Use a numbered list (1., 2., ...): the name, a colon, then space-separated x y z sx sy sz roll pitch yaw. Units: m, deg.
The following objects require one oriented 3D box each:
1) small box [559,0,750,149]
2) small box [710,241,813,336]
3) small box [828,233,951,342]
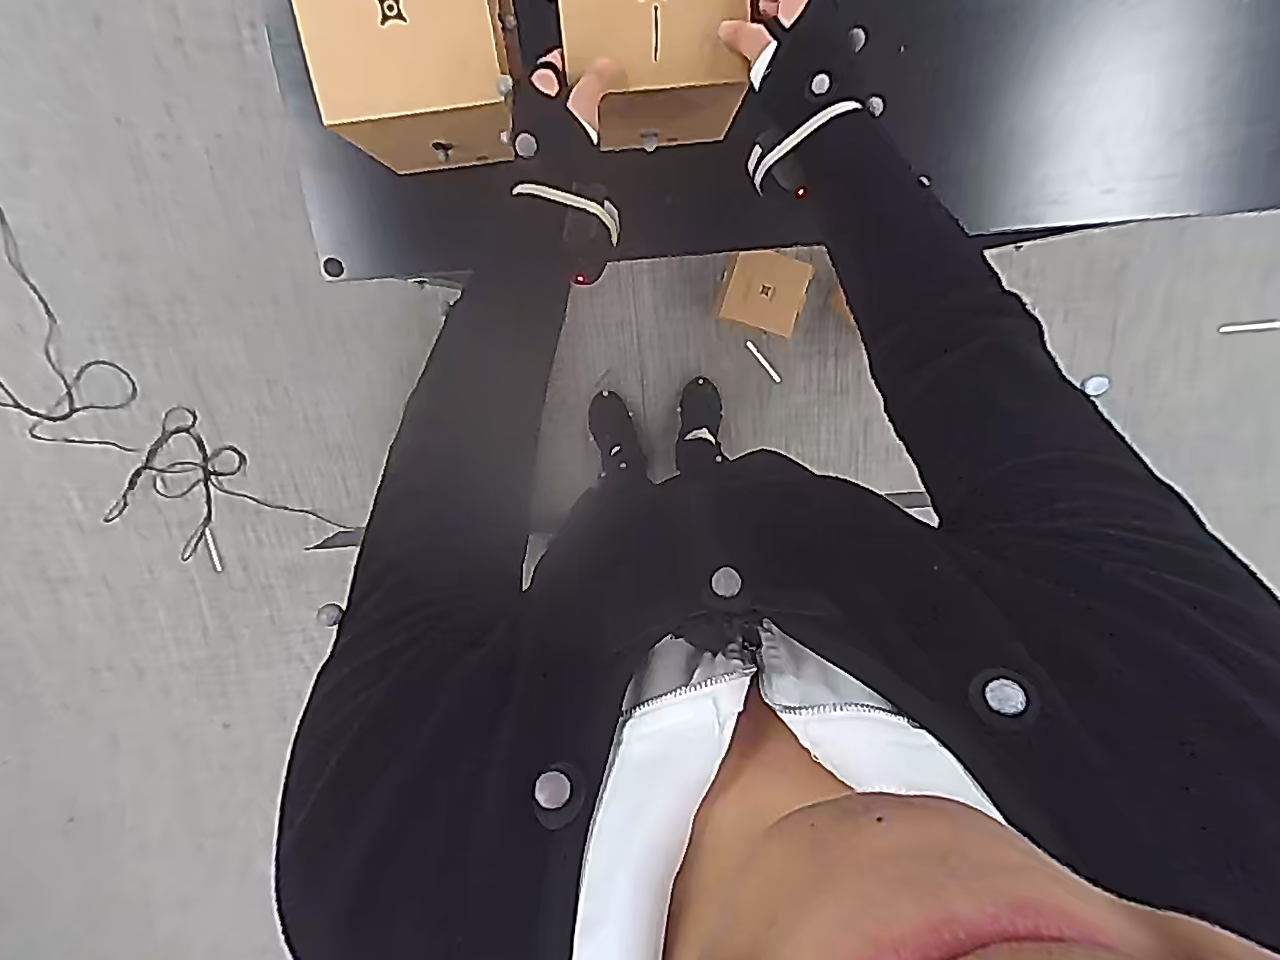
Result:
1. small box: 0.009 -0.452 0.530 0.168 0.176 0.179 -5 107 1
2. small box: 0.282 -0.454 1.296 0.179 0.176 0.168 16 105 -5
3. small box: 0.586 -0.456 1.297 0.168 0.176 0.179 38 103 -11
